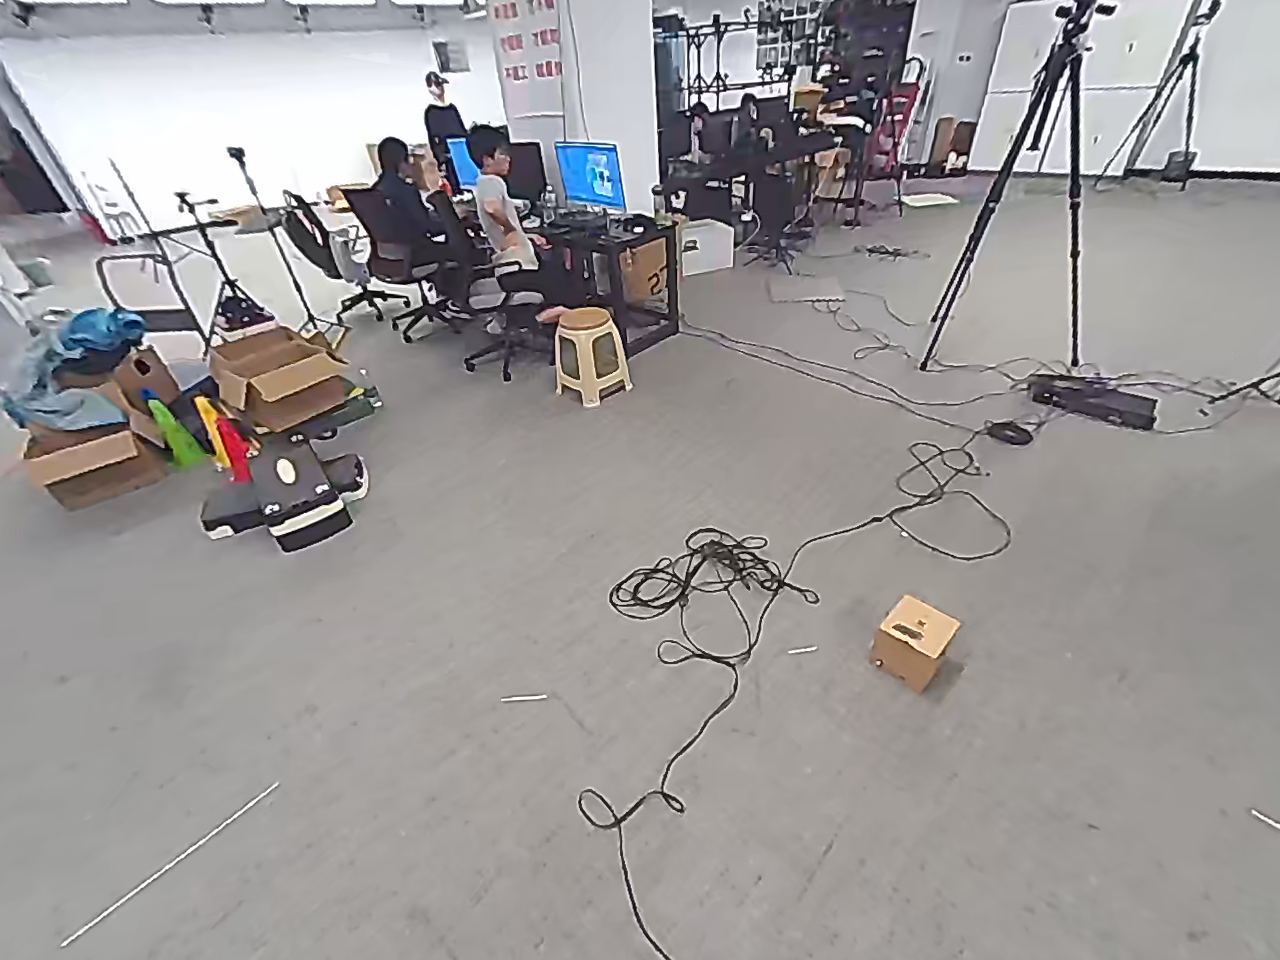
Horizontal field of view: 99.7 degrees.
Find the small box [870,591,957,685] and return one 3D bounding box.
[{"bbox_3d":[0.818,0.479,1.632,0.179,0.176,0.168,-32,44,-31],"label":"small box"}]
